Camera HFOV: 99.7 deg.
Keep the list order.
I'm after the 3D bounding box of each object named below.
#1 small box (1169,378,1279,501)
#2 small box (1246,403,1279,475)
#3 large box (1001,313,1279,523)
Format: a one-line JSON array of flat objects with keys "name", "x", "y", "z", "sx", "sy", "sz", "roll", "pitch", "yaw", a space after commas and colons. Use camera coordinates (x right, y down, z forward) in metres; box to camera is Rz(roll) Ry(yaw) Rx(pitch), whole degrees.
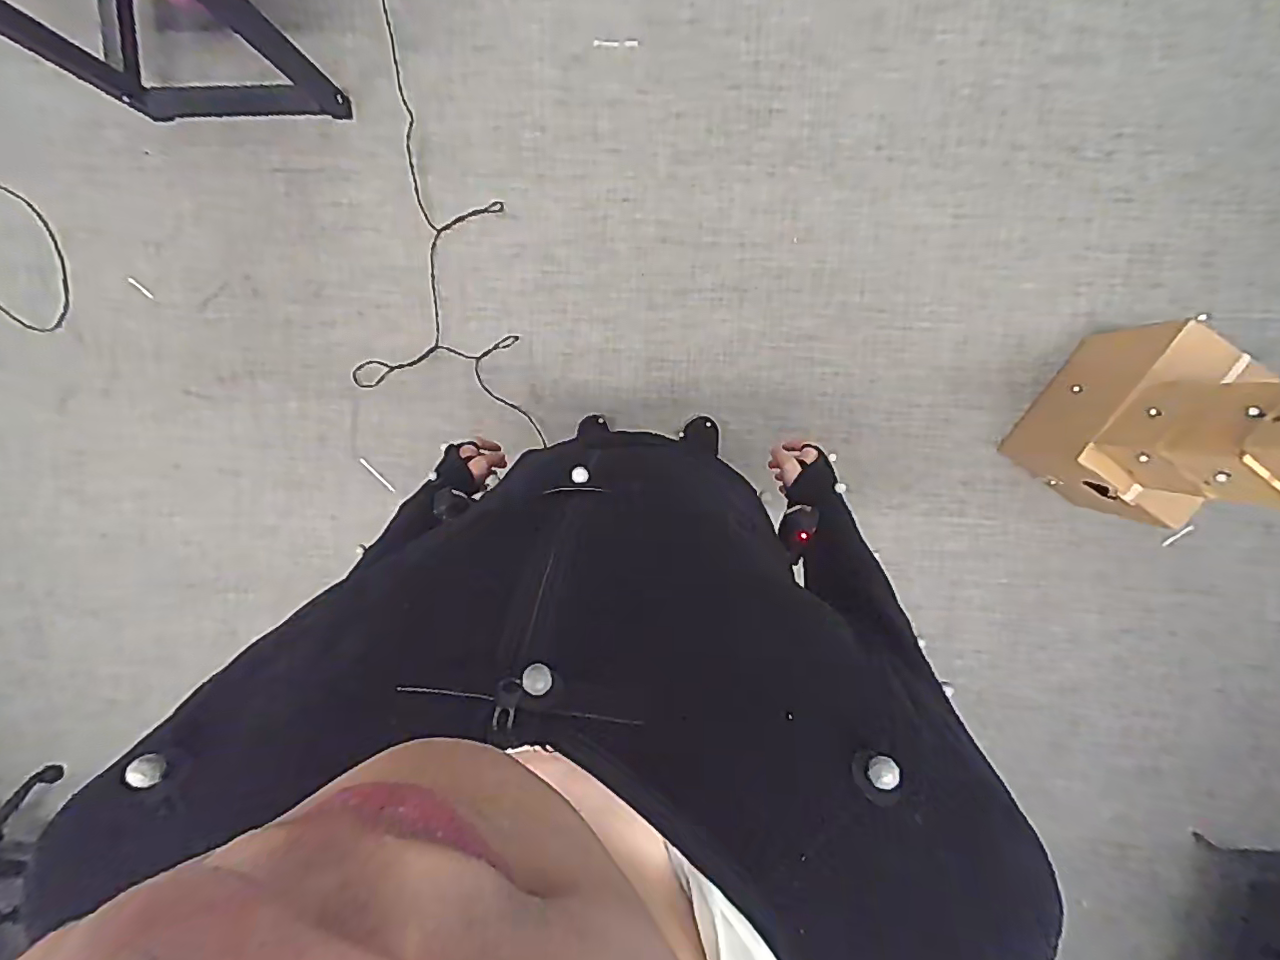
[{"name": "small box", "x": 1.169, "y": -0.071, "z": 1.015, "sx": 0.168, "sy": 0.176, "sz": 0.179, "roll": 37, "pitch": 97, "yaw": -3}, {"name": "small box", "x": 1.154, "y": -0.063, "z": 0.850, "sx": 0.179, "sy": 0.176, "sz": 0.168, "roll": 39, "pitch": 97, "yaw": -4}, {"name": "large box", "x": 1.271, "y": -0.157, "z": 1.410, "sx": 0.320, "sy": 0.320, "sz": 0.408, "roll": 33, "pitch": 98, "yaw": -4}]
